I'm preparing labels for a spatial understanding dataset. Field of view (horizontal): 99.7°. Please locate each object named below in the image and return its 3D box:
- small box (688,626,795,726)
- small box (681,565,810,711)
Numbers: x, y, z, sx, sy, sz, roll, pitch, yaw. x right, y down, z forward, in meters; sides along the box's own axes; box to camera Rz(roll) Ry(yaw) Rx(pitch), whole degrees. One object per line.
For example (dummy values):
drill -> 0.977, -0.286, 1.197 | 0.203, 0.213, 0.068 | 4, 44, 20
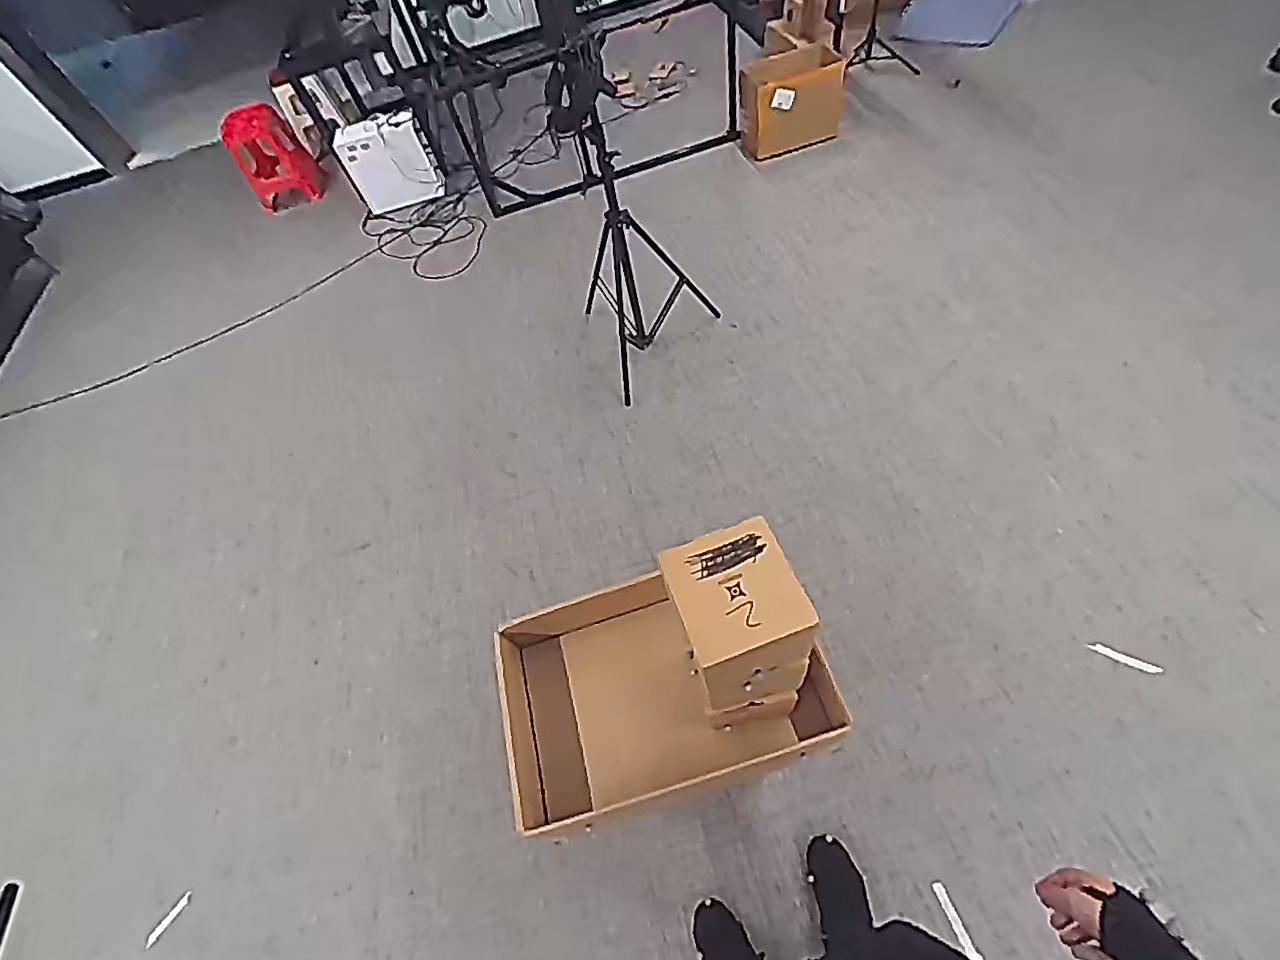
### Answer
small box -> 0.196, 0.372, 1.062 | 0.168, 0.176, 0.179 | -12, 55, 2
small box -> 0.175, 0.275, 0.932 | 0.168, 0.176, 0.179 | -16, 55, 1
